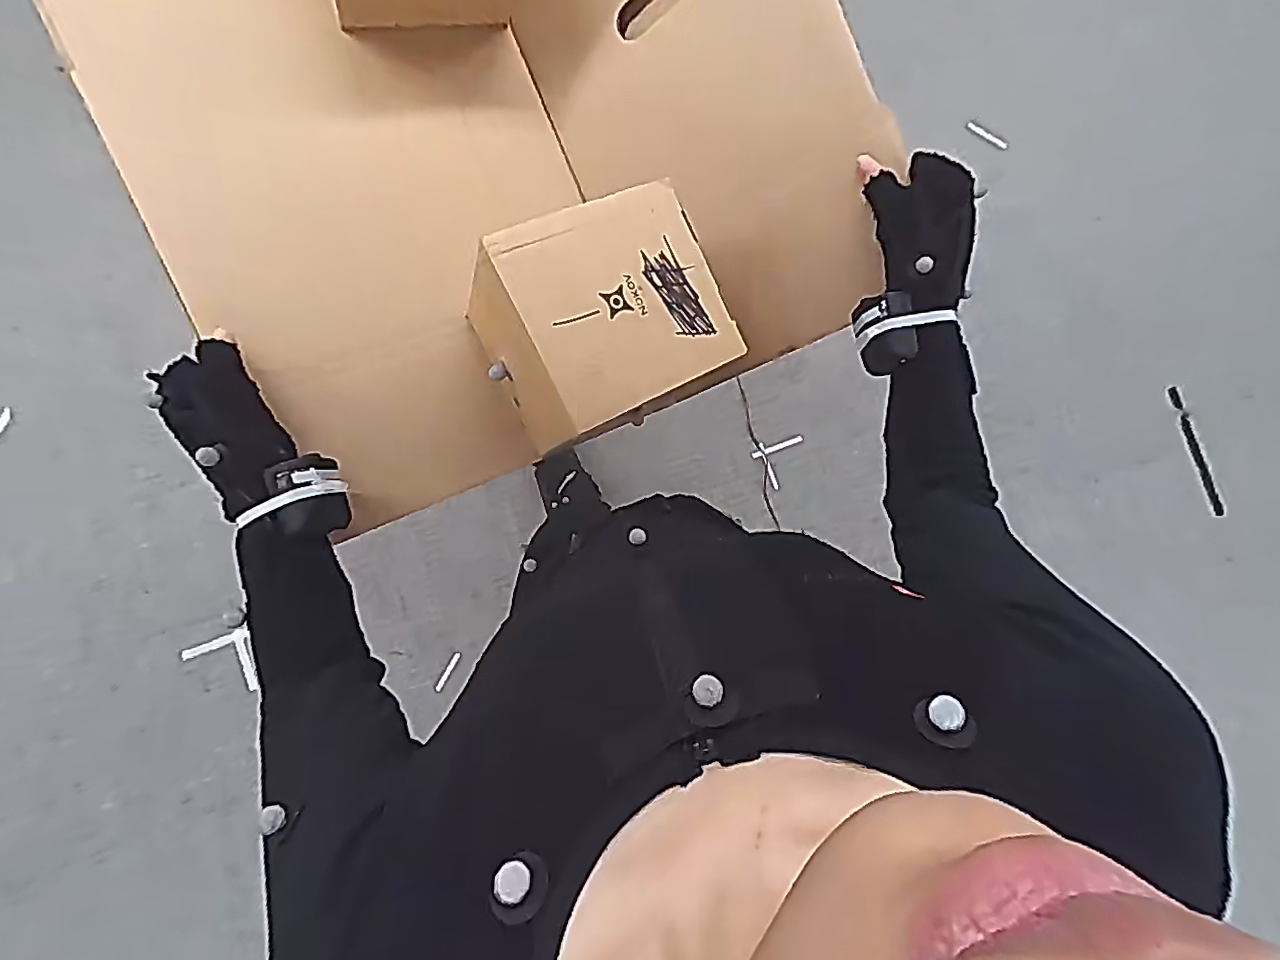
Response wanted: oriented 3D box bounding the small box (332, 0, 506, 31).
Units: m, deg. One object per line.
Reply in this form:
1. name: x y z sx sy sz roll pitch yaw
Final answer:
1. small box: -0.218 -0.552 0.488 0.179 0.176 0.168 -20 93 -22
